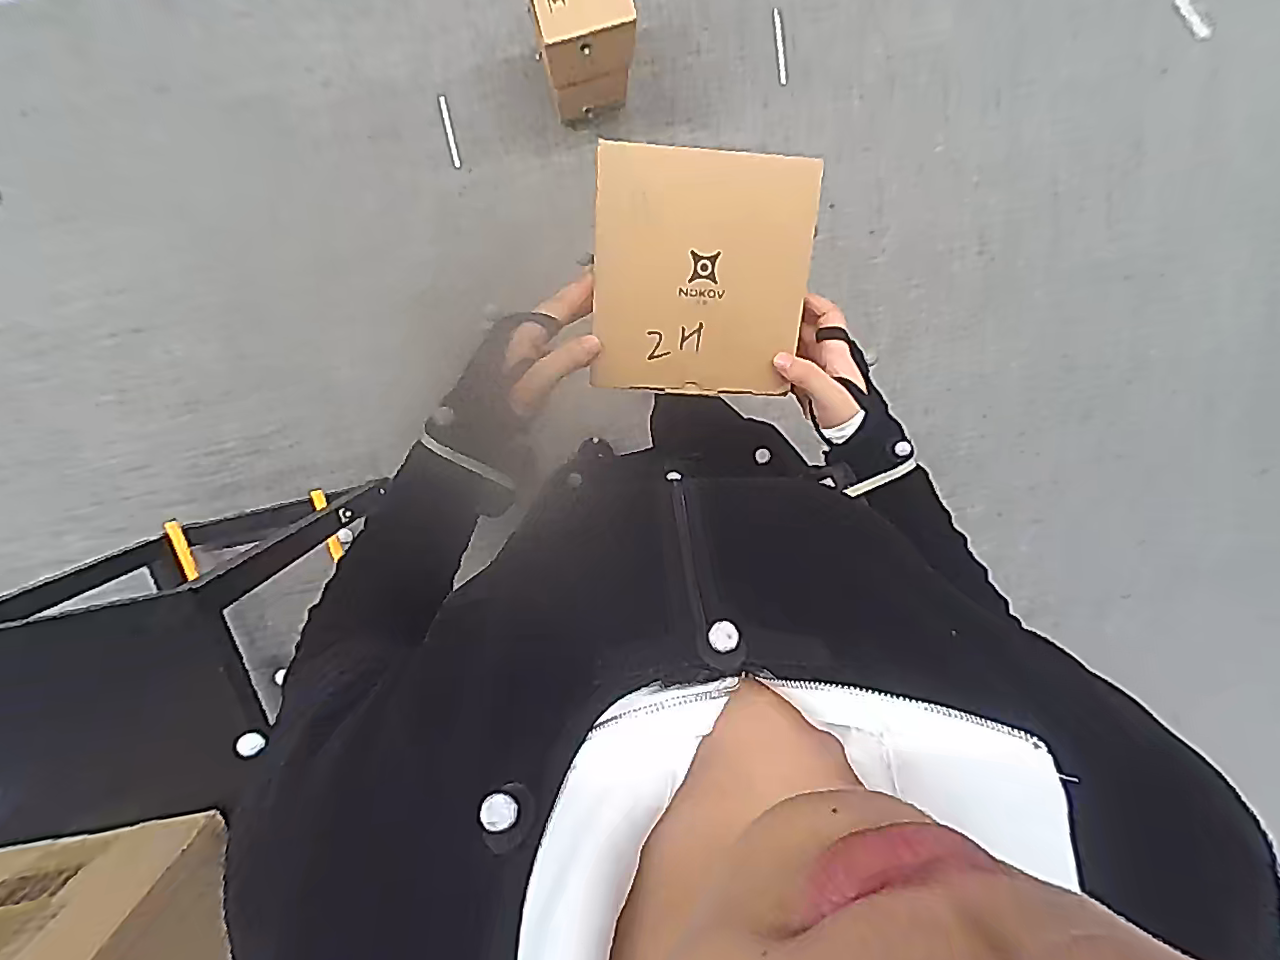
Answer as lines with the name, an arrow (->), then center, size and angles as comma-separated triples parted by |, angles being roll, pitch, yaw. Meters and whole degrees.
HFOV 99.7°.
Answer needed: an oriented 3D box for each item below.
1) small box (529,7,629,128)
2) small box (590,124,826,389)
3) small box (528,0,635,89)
small box -> -0.129, -0.914, 1.179 | 0.168, 0.176, 0.179 | -18, 105, 2
small box -> 0.042, -0.185, 0.480 | 0.168, 0.176, 0.179 | 2, 110, -5
small box -> -0.115, -0.880, 1.018 | 0.179, 0.176, 0.168 | -16, 104, 0
